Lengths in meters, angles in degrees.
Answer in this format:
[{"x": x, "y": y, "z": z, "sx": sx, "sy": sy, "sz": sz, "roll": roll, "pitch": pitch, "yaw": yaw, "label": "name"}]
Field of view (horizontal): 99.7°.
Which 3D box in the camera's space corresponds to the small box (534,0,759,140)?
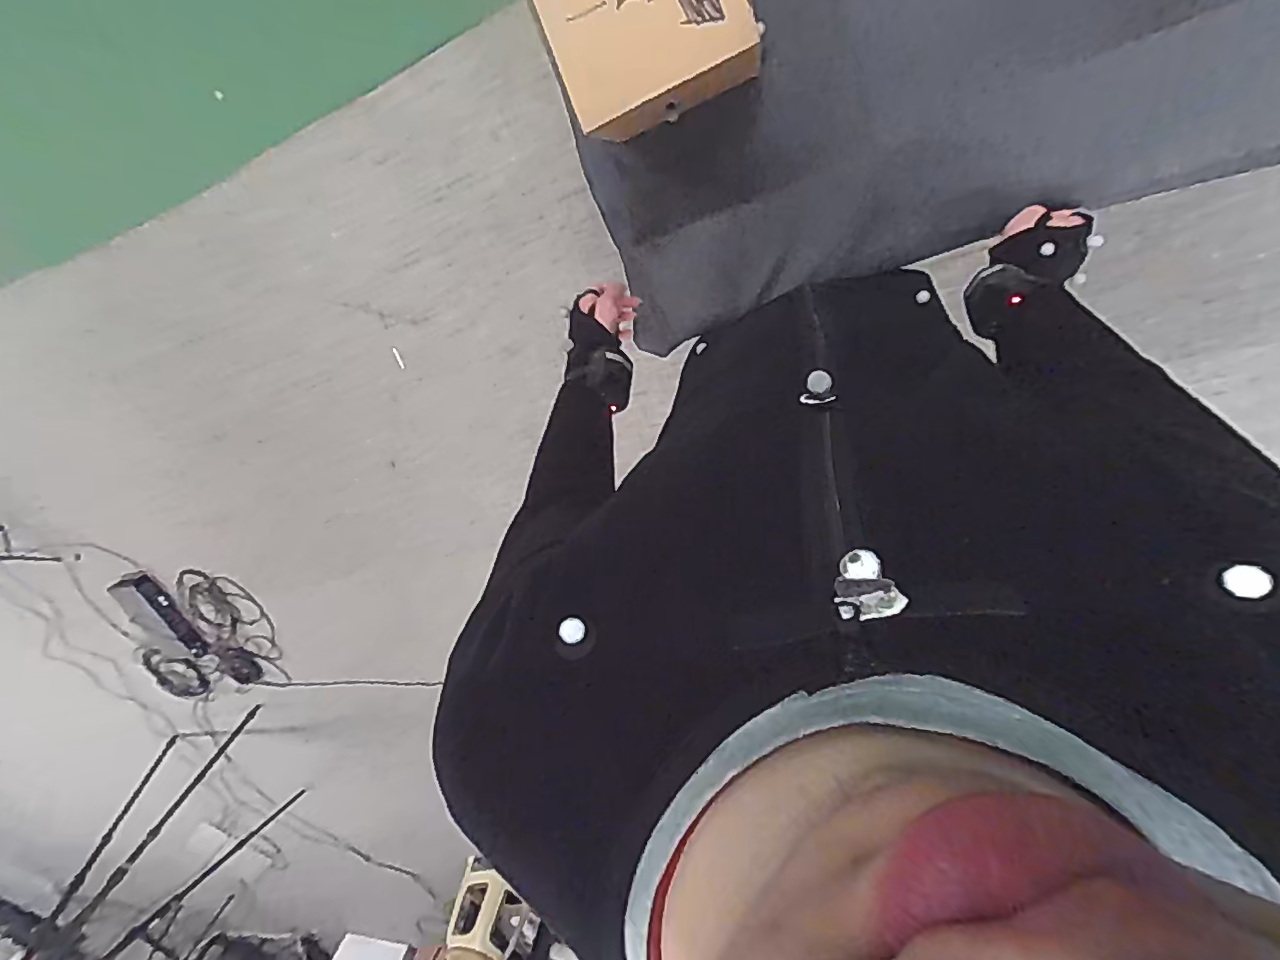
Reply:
[{"x": 0.010, "y": -0.460, "z": 0.530, "sx": 0.179, "sy": 0.176, "sz": 0.168, "roll": -14, "pitch": 115, "yaw": 20, "label": "small box"}]
